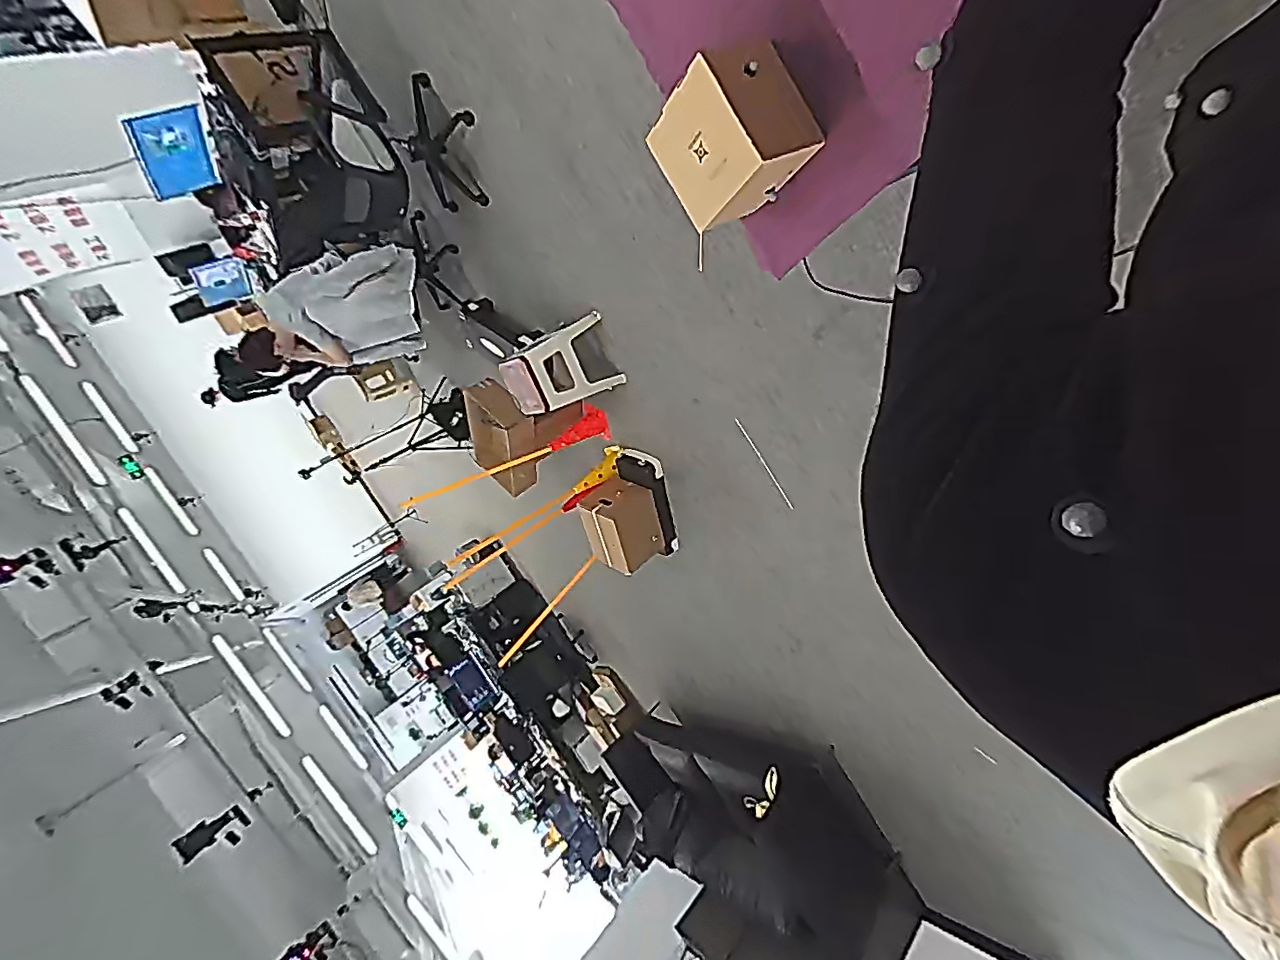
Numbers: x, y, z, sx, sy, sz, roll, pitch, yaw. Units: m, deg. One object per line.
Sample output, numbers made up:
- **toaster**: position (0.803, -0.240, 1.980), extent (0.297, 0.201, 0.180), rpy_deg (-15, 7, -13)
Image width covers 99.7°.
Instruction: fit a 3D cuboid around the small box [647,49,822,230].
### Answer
- **small box**: position (0.149, -0.538, 0.858), extent (0.179, 0.176, 0.168), rpy_deg (58, 150, -4)
